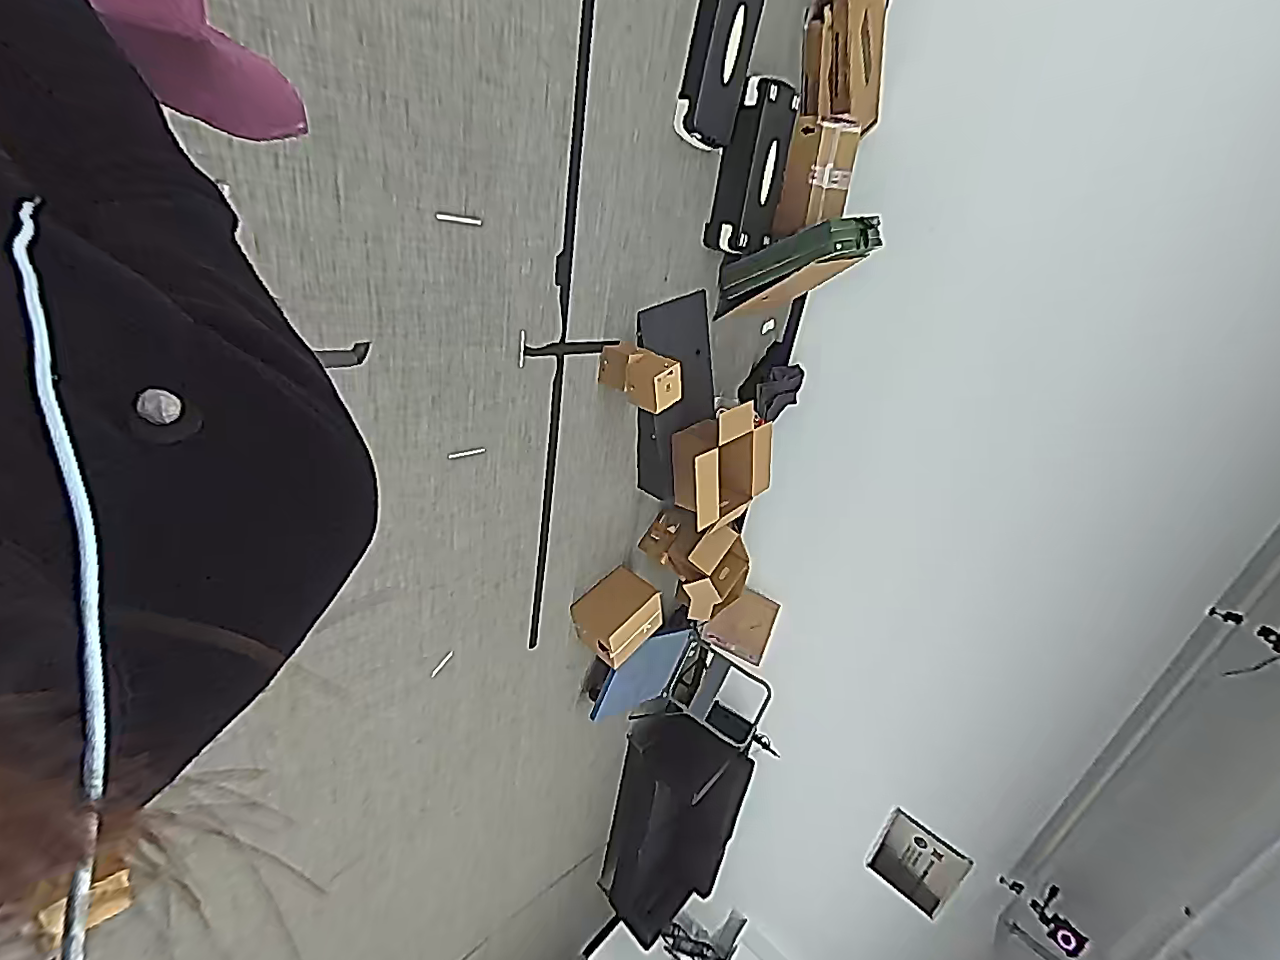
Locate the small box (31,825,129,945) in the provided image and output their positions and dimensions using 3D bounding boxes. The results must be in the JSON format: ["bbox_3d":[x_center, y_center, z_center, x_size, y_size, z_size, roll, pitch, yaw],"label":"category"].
[{"bbox_3d":[-1.605,1.150,1.548,0.179,0.176,0.168,-11,122,-51],"label":"small box"}]
